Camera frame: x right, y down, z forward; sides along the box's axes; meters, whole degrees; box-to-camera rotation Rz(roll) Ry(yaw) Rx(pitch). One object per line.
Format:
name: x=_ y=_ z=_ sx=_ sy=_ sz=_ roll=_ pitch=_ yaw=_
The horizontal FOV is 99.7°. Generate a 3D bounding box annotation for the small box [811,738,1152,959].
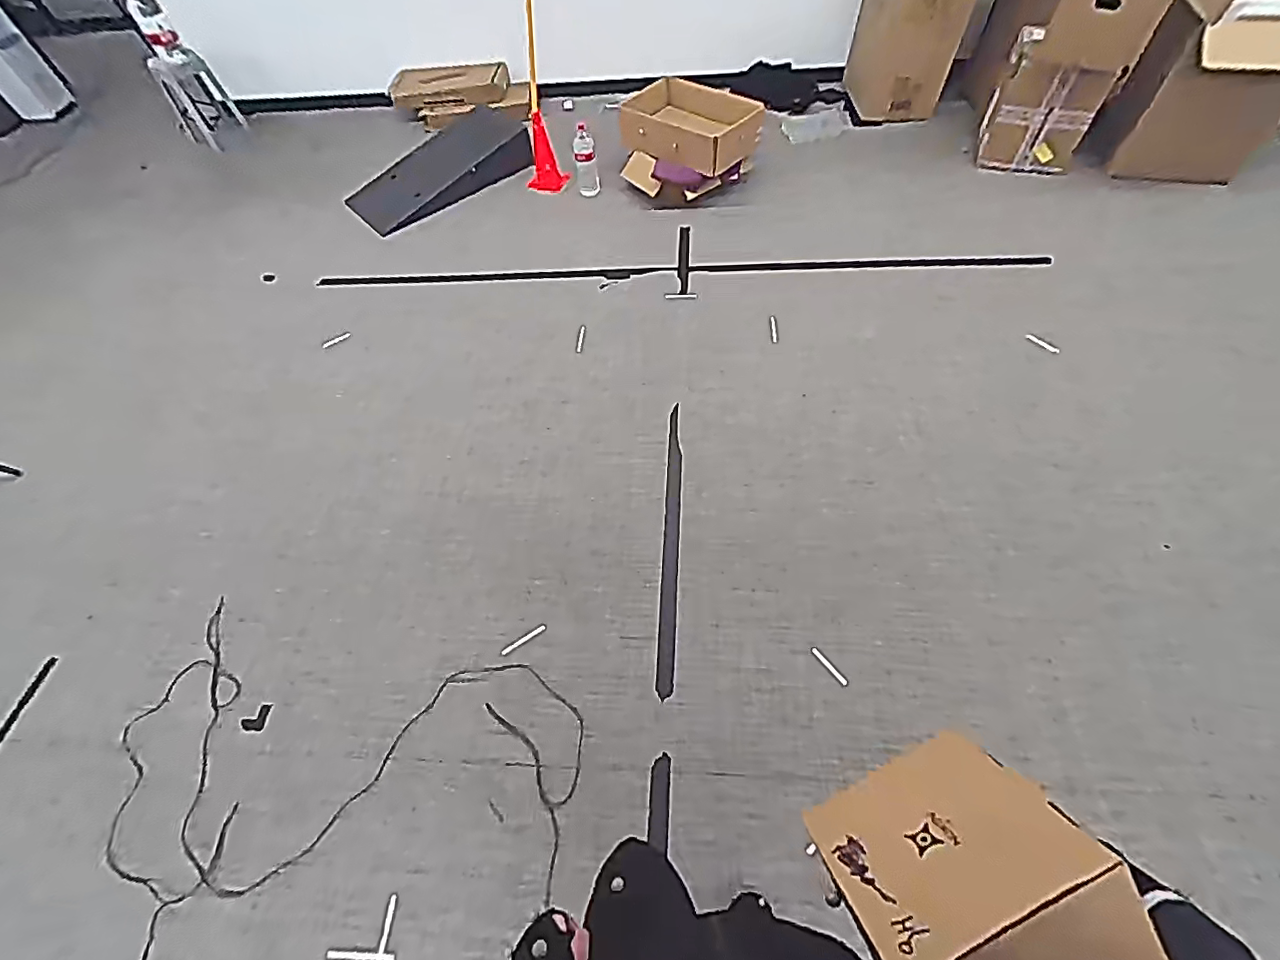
small box: x=0.283 y=0.370 z=0.458 sx=0.179 sy=0.168 sz=0.176 roll=-27 pitch=96 yaw=-3
